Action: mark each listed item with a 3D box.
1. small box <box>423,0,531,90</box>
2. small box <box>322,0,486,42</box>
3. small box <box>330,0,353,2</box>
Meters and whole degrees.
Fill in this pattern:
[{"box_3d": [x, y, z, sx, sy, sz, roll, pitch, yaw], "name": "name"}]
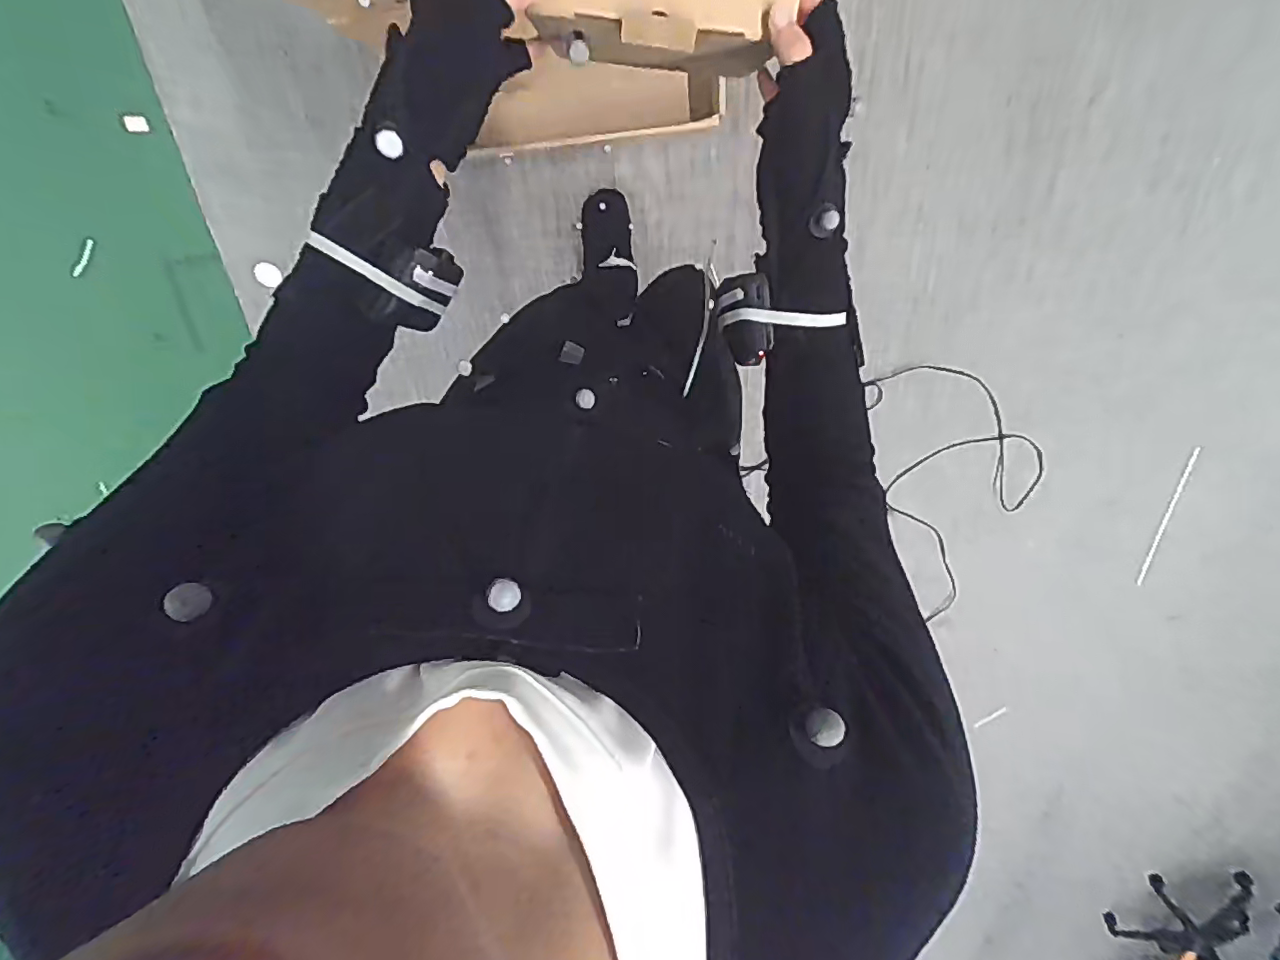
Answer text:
[{"box_3d": [-0.303, -0.831, 0.976, 0.168, 0.176, 0.179, -3, 118, 3], "name": "small box"}, {"box_3d": [-0.310, -0.685, 0.684, 0.168, 0.176, 0.179, -6, 118, 3], "name": "small box"}, {"box_3d": [-0.310, -0.611, 0.538, 0.168, 0.176, 0.179, -6, 119, 2], "name": "small box"}]
